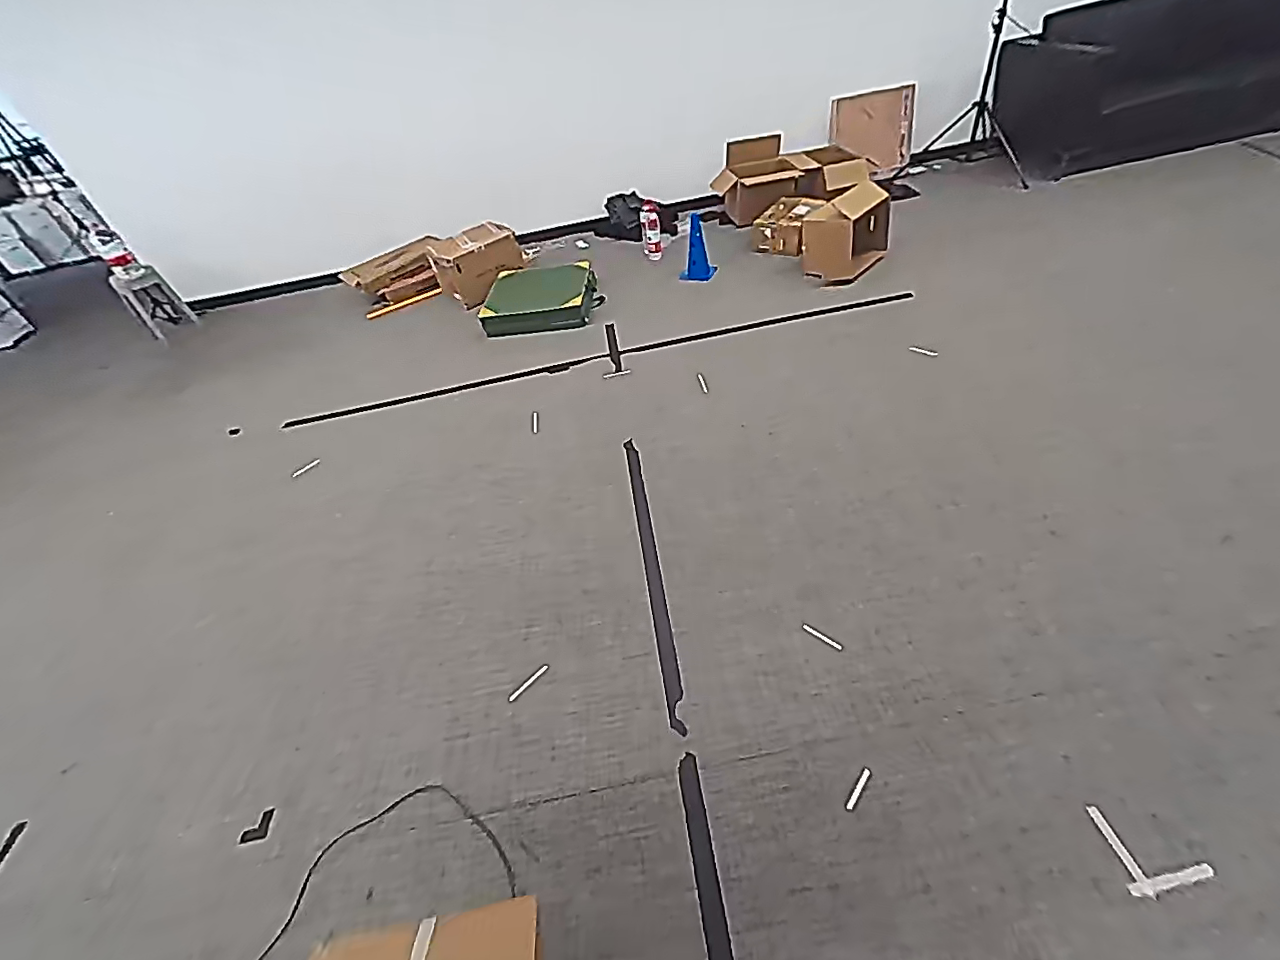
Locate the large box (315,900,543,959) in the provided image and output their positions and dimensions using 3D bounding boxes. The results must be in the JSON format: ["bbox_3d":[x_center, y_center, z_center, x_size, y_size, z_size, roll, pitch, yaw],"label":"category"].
[{"bbox_3d":[-0.260,0.801,0.606,0.320,0.320,0.408,-4,2,-8],"label":"large box"}]
